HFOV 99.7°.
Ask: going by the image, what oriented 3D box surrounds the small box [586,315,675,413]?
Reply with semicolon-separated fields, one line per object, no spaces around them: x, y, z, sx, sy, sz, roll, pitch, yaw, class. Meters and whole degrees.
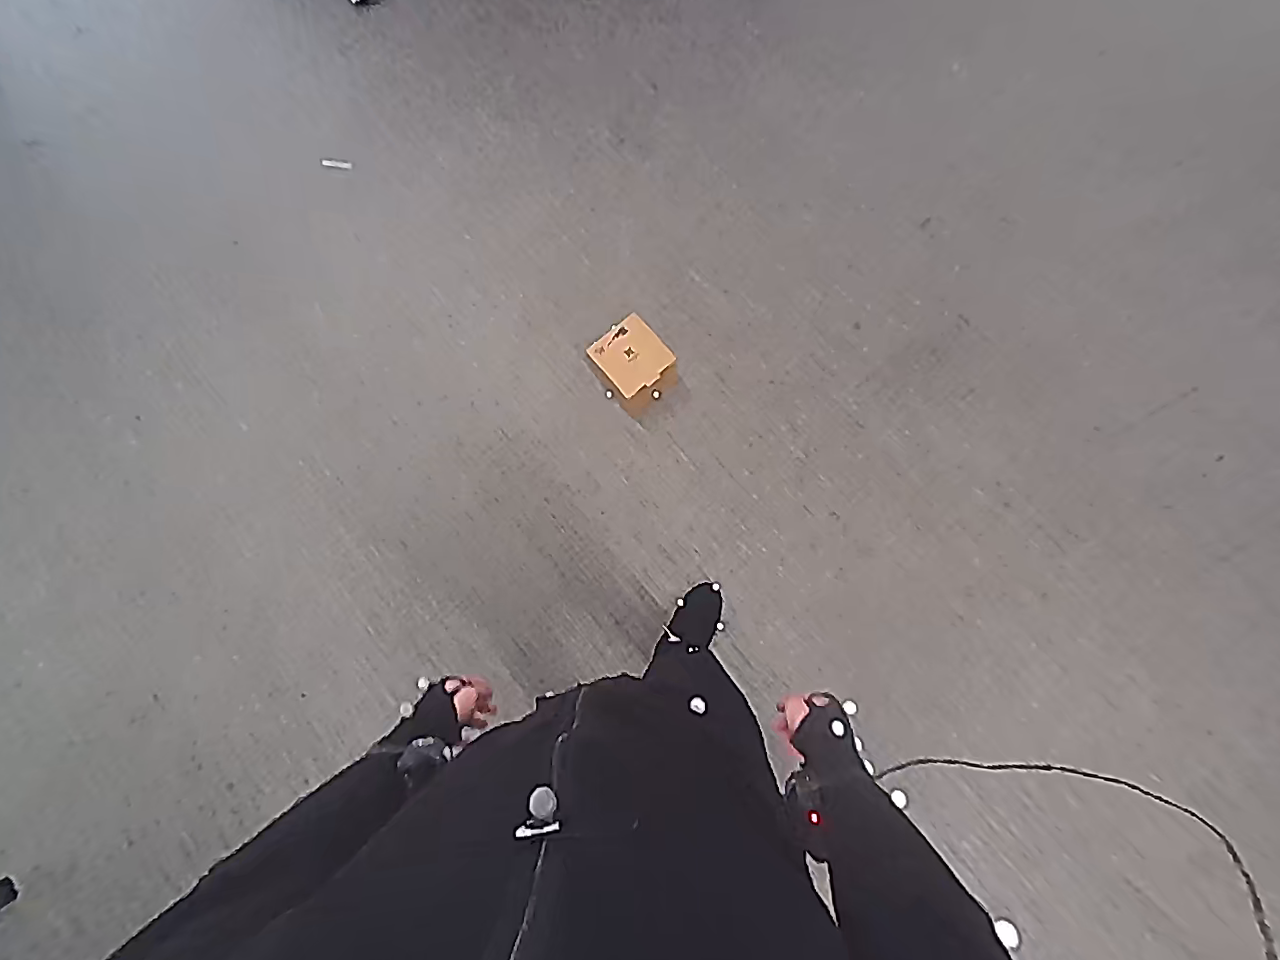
-0.020;-0.300;1.455;0.168;0.176;0.179;-39;80;-5;small box
